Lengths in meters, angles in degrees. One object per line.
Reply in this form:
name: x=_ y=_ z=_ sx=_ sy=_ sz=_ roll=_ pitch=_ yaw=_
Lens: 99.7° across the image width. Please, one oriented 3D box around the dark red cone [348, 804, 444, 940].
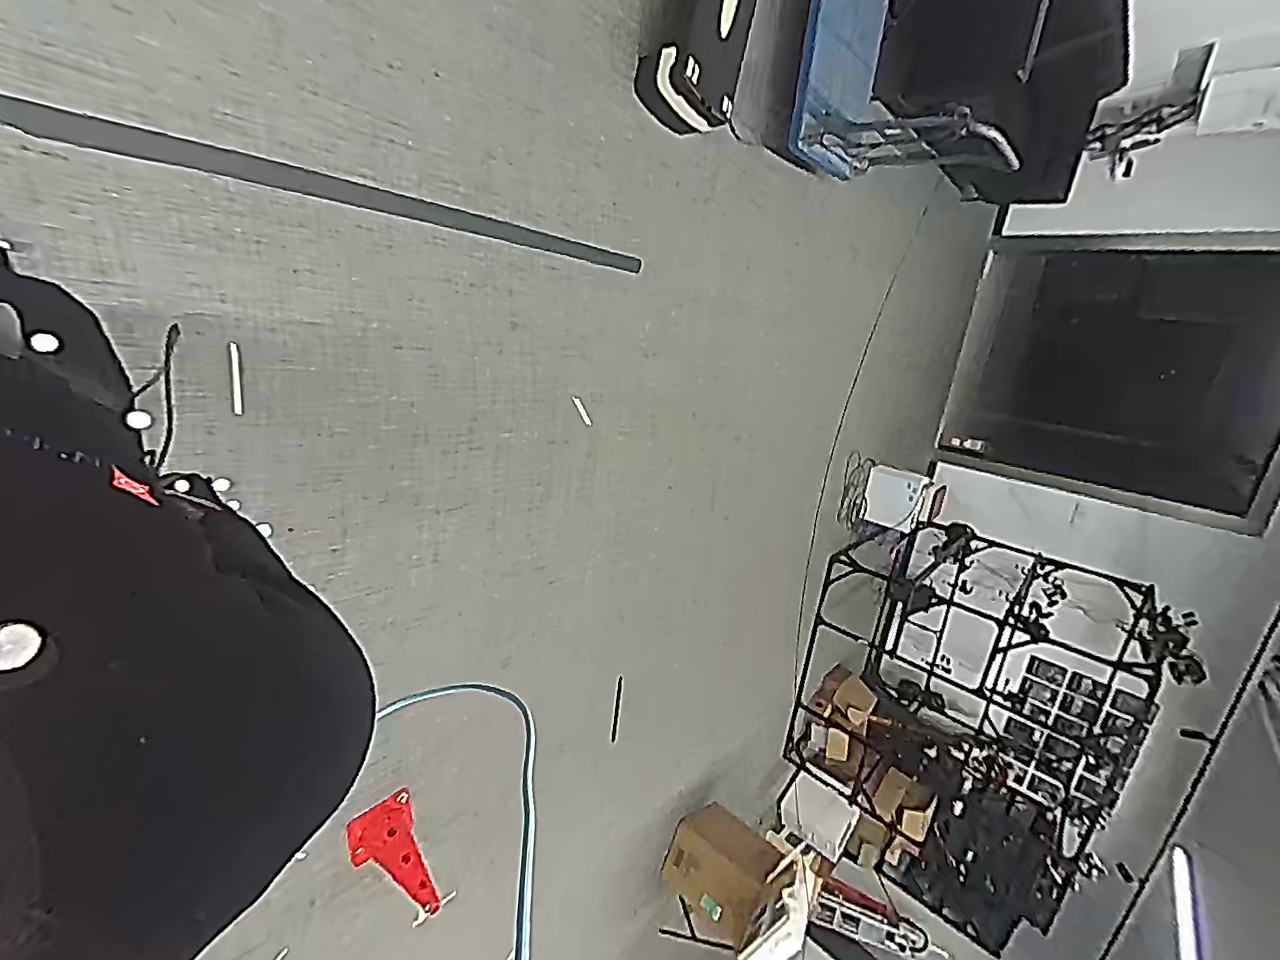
dark red cone: x=-0.698 y=1.199 z=1.617 sx=0.201 sy=0.394 sz=0.202 roll=-19 pitch=120 yaw=-43
